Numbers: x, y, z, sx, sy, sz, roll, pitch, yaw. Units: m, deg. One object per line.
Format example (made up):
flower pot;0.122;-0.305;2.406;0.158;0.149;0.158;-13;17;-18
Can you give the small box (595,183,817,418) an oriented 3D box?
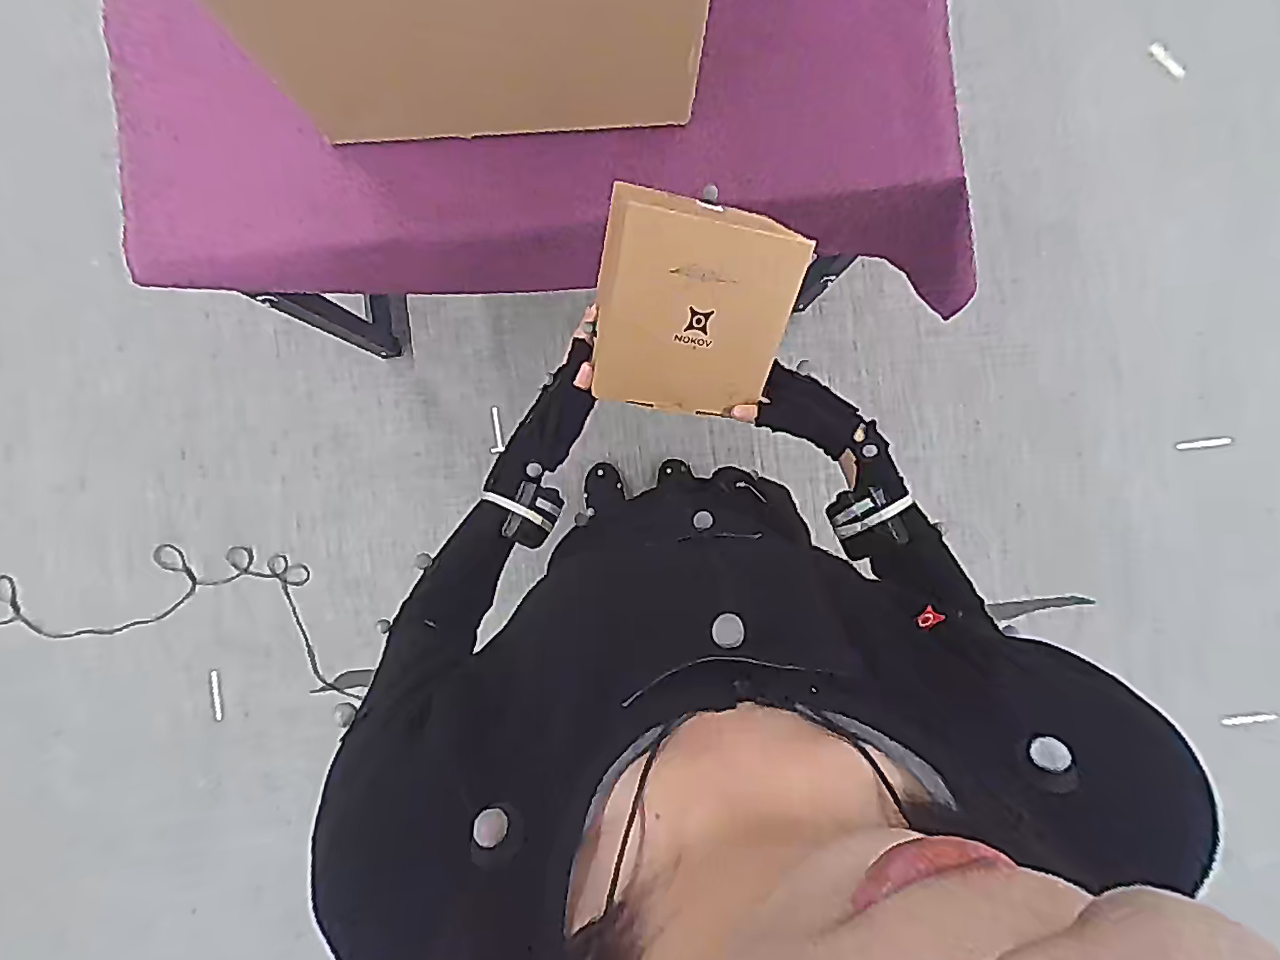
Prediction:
small box;0.048;-0.188;0.557;0.168;0.176;0.179;7;121;-13
